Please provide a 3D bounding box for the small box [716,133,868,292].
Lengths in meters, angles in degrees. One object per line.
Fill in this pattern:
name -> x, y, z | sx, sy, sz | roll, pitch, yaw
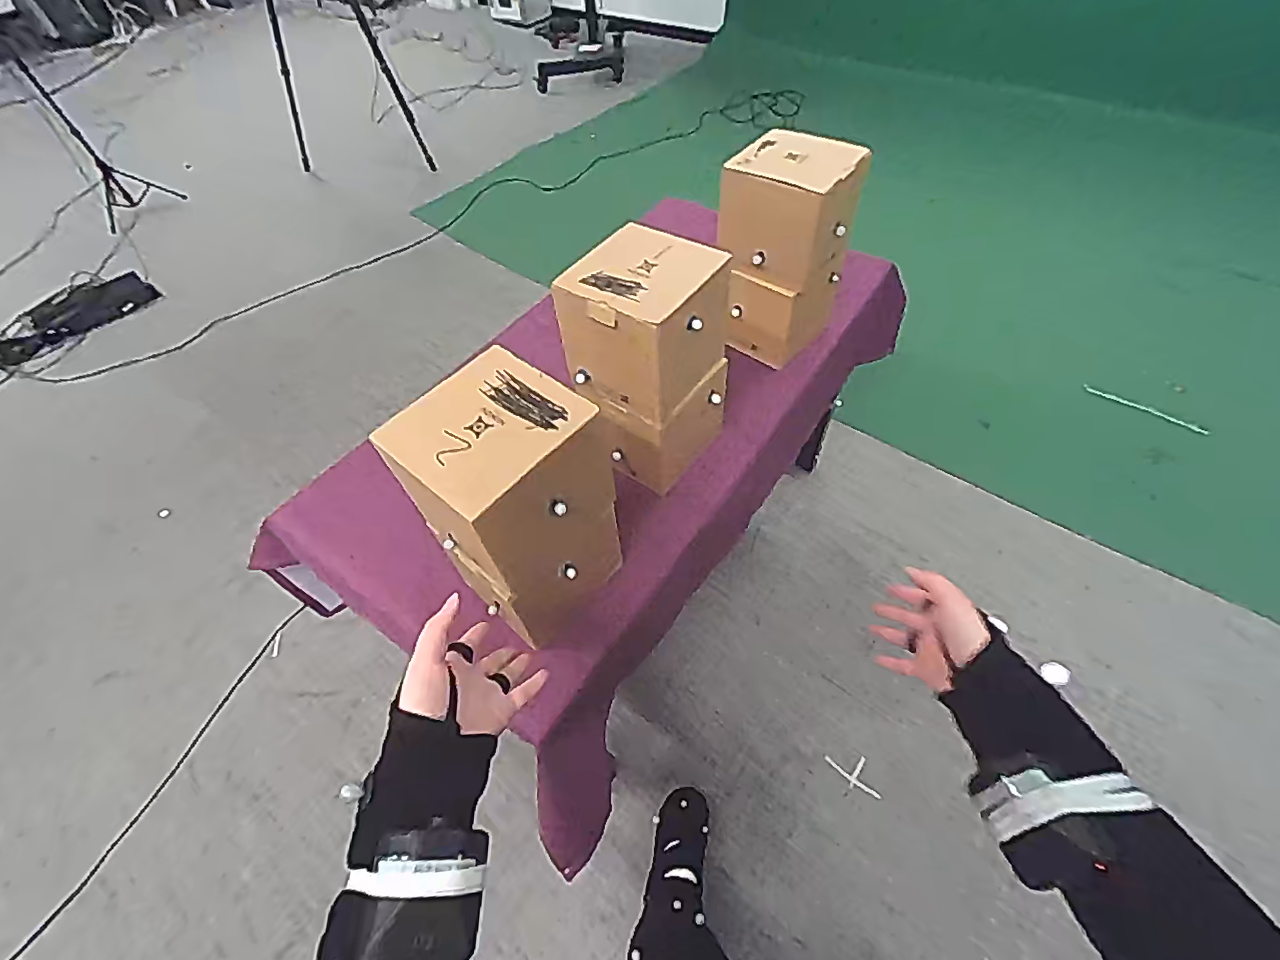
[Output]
small box -> 0.245, -0.444, 0.908 | 0.179, 0.176, 0.168 | 31, 61, 24

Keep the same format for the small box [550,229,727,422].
small box -> 0.006, -0.211, 0.751 | 0.168, 0.176, 0.179 | 28, 59, 23

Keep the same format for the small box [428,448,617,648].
small box -> -0.146, 0.097, 0.741 | 0.168, 0.176, 0.179 | 35, 63, 26

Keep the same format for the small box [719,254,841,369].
small box -> 0.254, -0.343, 1.038 | 0.168, 0.176, 0.179 | 35, 62, 26

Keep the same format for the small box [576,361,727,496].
small box -> 0.021, -0.109, 0.880 | 0.168, 0.176, 0.179 | 31, 61, 25
